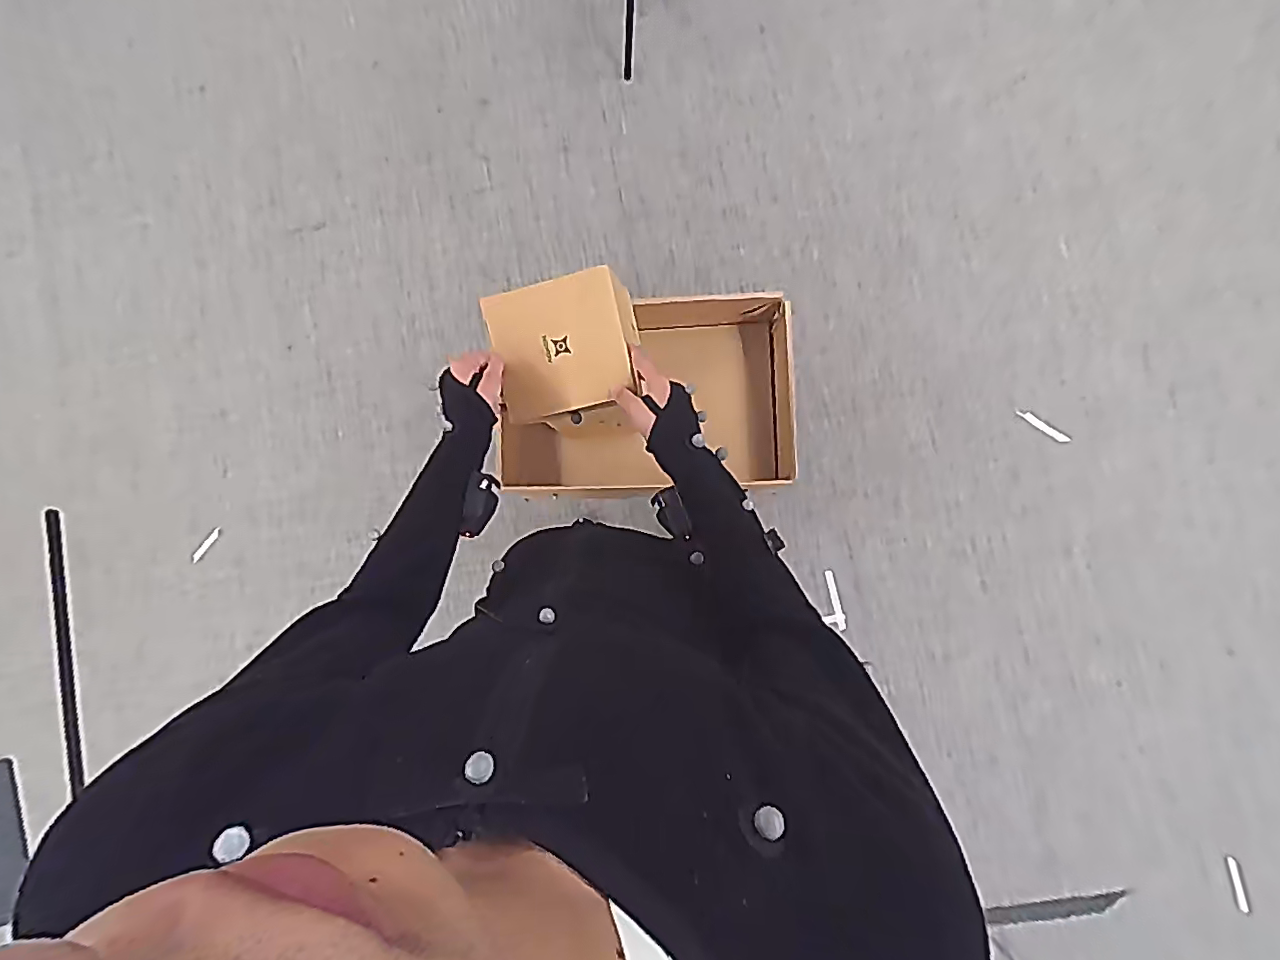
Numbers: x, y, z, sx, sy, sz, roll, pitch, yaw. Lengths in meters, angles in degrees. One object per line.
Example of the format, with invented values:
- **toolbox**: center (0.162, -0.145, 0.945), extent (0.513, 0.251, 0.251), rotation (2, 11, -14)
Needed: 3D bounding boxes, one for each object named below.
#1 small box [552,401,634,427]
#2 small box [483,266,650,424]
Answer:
- **small box**: center (-0.100, -0.204, 1.008), extent (0.168, 0.176, 0.179), rotation (-4, 85, 2)
- **small box**: center (-0.089, -0.180, 0.761), extent (0.179, 0.176, 0.168), rotation (-12, 96, 11)
